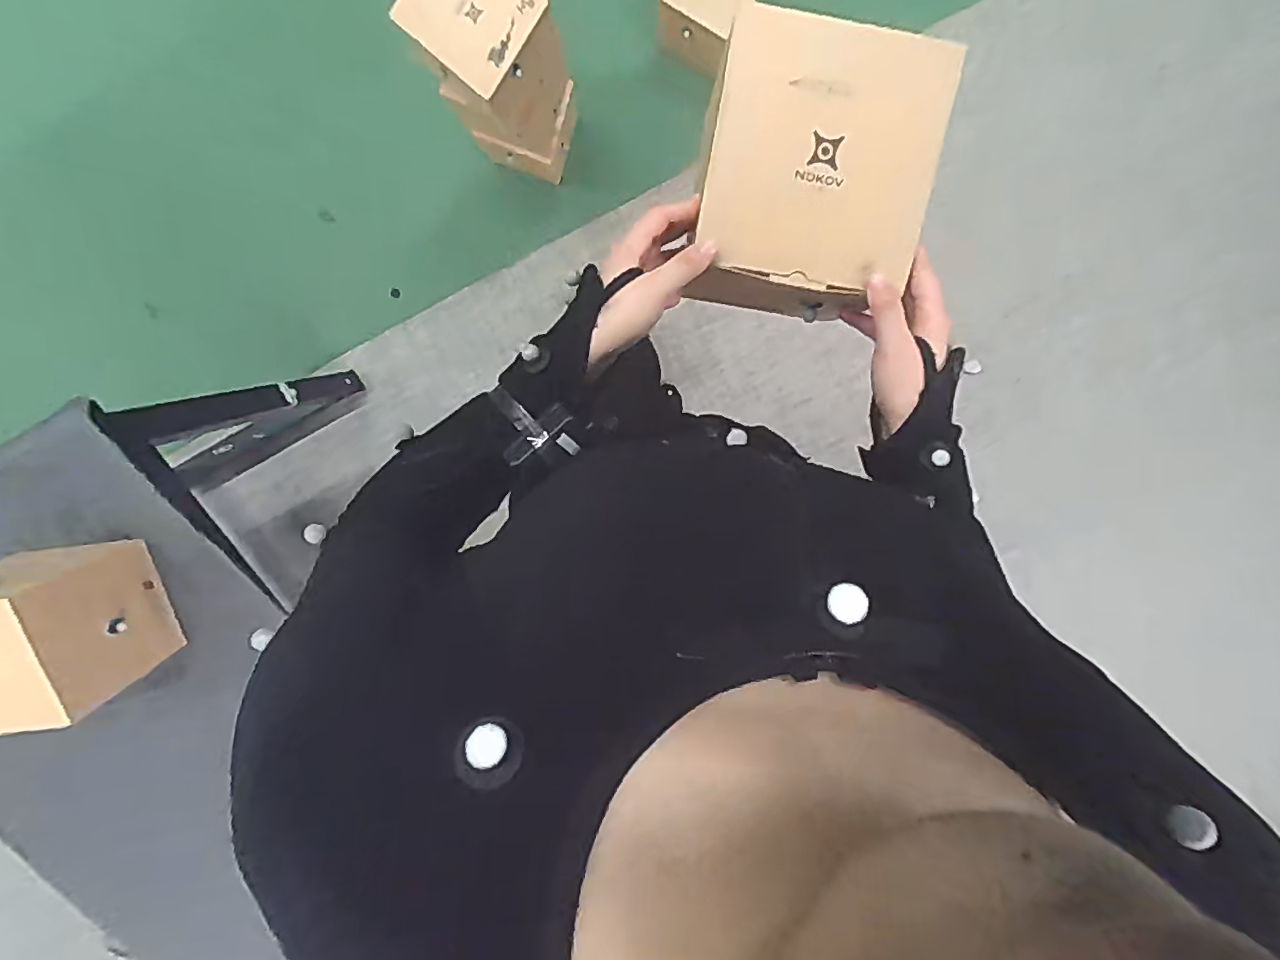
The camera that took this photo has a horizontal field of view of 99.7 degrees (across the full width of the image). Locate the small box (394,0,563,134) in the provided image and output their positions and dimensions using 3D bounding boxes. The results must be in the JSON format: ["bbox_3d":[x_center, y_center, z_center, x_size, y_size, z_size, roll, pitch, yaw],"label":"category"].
[{"bbox_3d":[-0.244,-0.697,0.859,0.179,0.176,0.168,37,102,-11],"label":"small box"}]

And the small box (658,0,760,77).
[{"bbox_3d":[0.148,-0.991,1.127,0.179,0.176,0.168,24,104,-9],"label":"small box"}]

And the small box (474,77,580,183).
[{"bbox_3d":[-0.237,-0.773,1.179,0.179,0.176,0.168,18,105,-6],"label":"small box"}]

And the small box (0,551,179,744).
[{"bbox_3d":[-0.730,0.199,0.672,0.179,0.176,0.168,-7,106,3],"label":"small box"}]
